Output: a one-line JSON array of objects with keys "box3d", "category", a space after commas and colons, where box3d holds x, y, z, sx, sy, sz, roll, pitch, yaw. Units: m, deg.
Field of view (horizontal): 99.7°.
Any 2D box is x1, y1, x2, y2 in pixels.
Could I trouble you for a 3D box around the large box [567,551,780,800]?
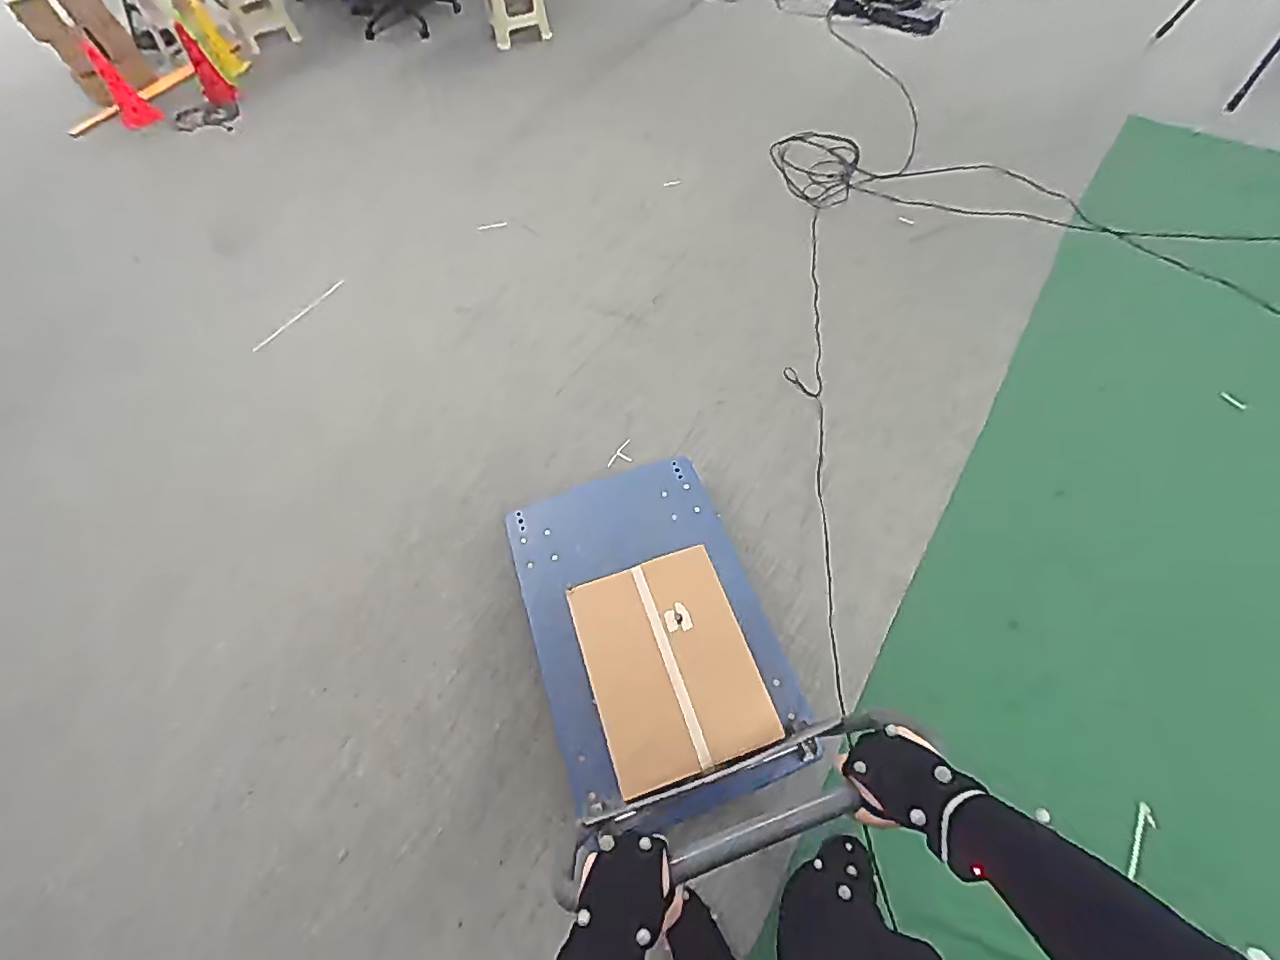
[{"box3d": [0.063, 0.435, 1.200, 0.320, 0.320, 0.408, -18, 60, -7], "category": "large box"}]
